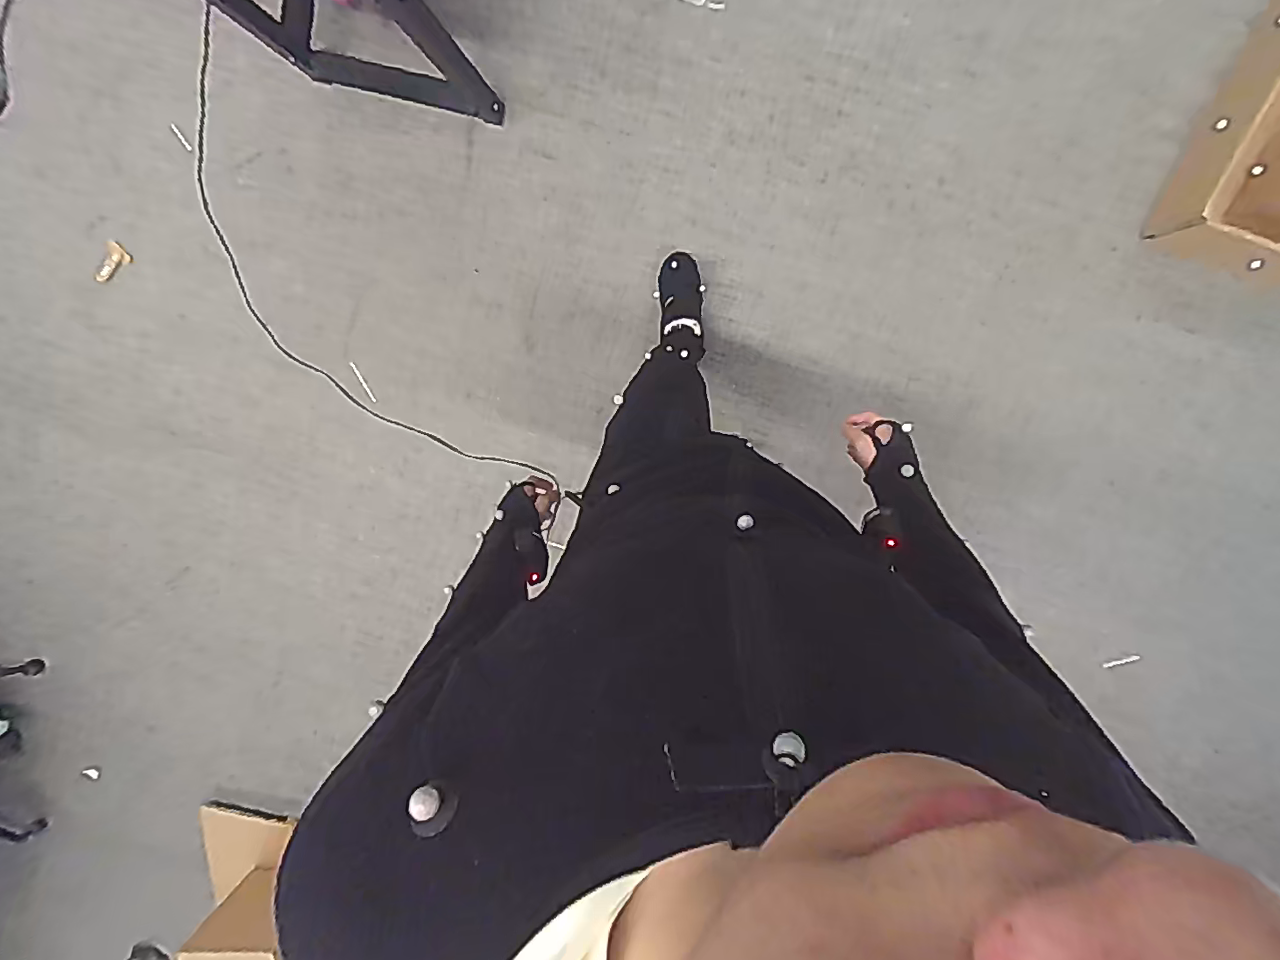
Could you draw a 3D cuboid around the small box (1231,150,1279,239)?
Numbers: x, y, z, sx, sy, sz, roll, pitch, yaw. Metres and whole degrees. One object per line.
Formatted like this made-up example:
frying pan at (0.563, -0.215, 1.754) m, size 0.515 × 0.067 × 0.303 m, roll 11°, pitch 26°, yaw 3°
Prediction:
small box at (1.466, -0.630, 1.158) m, size 0.179 × 0.176 × 0.168 m, roll 22°, pitch 102°, yaw 4°
